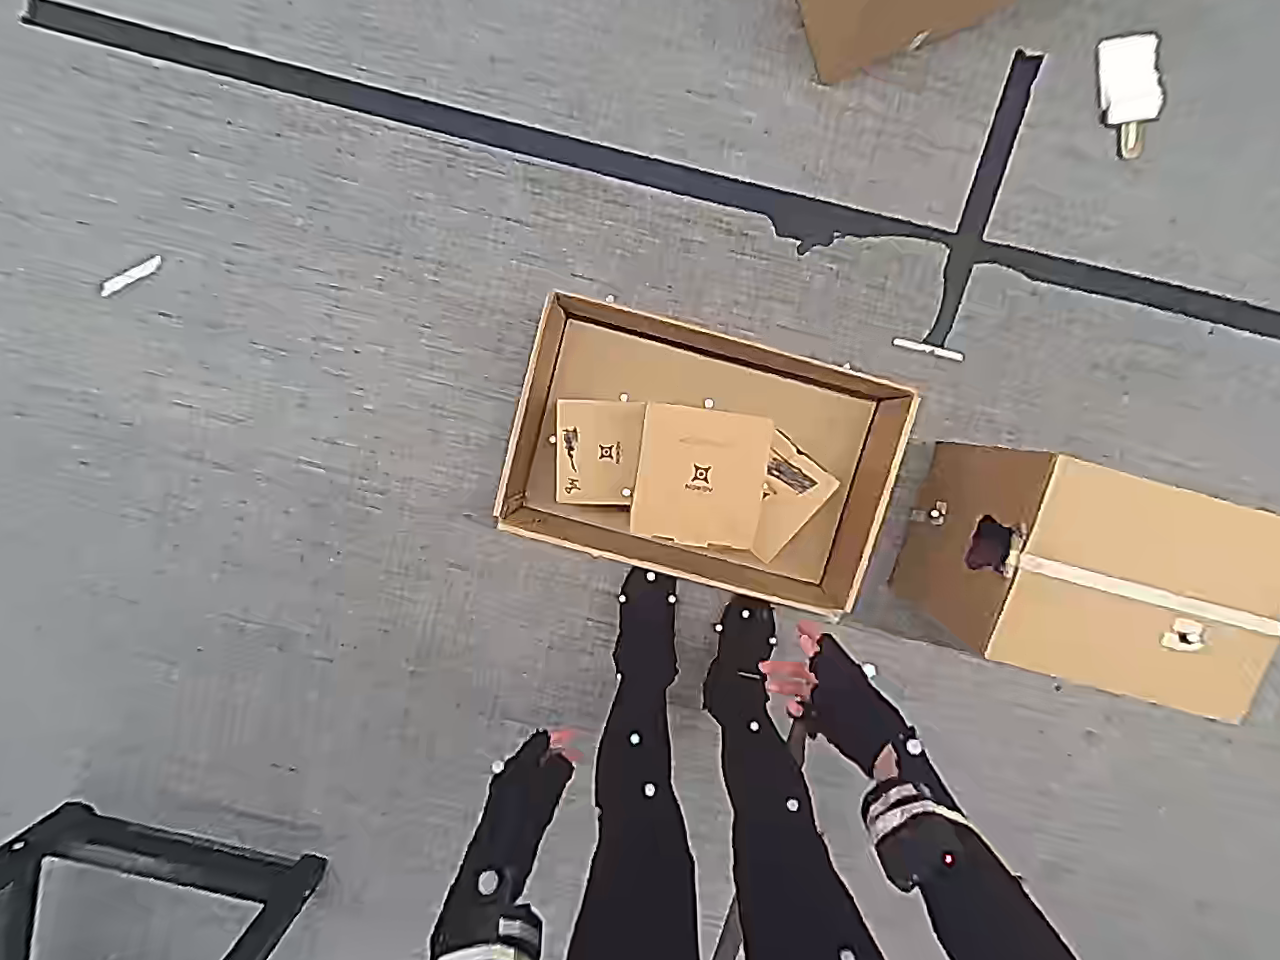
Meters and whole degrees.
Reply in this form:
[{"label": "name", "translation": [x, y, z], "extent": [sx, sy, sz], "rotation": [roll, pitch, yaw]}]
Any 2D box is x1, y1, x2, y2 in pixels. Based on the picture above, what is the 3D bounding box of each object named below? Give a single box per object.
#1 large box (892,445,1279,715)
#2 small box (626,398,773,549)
[{"label": "large box", "translation": [0.723, 0.137, 0.918], "extent": [0.408, 0.320, 0.320], "rotation": [15, 98, -2]}, {"label": "small box", "translation": [0.075, -0.016, 0.760], "extent": [0.168, 0.176, 0.179], "rotation": [7, 96, -1]}]
